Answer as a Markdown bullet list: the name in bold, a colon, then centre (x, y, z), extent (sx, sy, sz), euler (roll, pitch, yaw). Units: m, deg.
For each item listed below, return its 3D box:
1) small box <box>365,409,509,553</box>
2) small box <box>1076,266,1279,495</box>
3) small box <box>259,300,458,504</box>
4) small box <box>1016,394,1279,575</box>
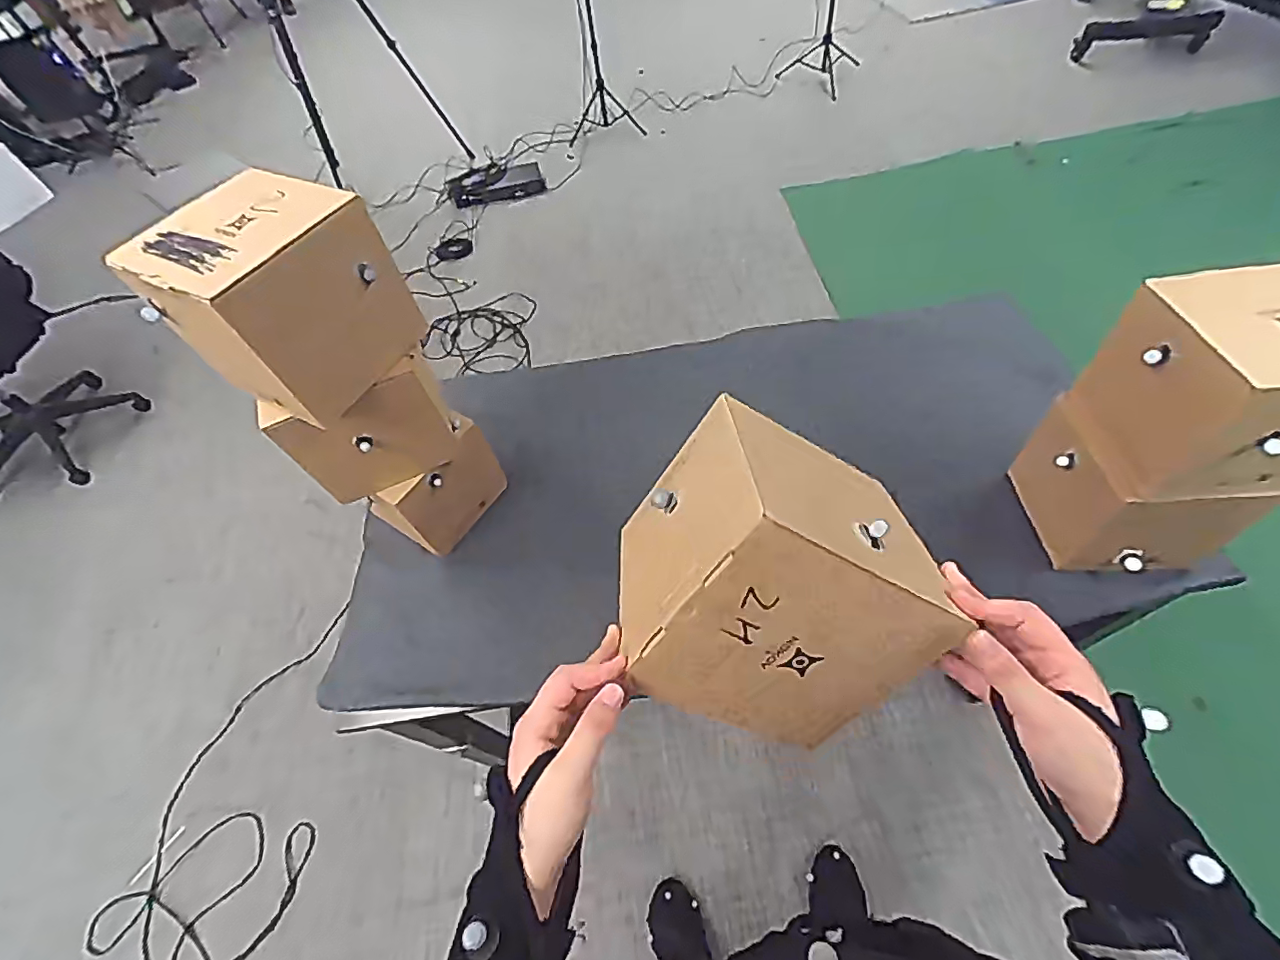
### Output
- **small box**: centre (-0.341, -0.010, 0.856), extent (0.179, 0.176, 0.168), euler (26, 63, 23)
- **small box**: centre (0.617, -0.097, 0.566), extent (0.168, 0.176, 0.179), euler (-5, 51, 7)
- **small box**: centre (-0.360, -0.099, 0.718), extent (0.179, 0.176, 0.168), euler (-25, 57, -8)
- **small box**: centre (0.626, 0.004, 0.694), extent (0.168, 0.176, 0.179), euler (-4, 53, 8)
